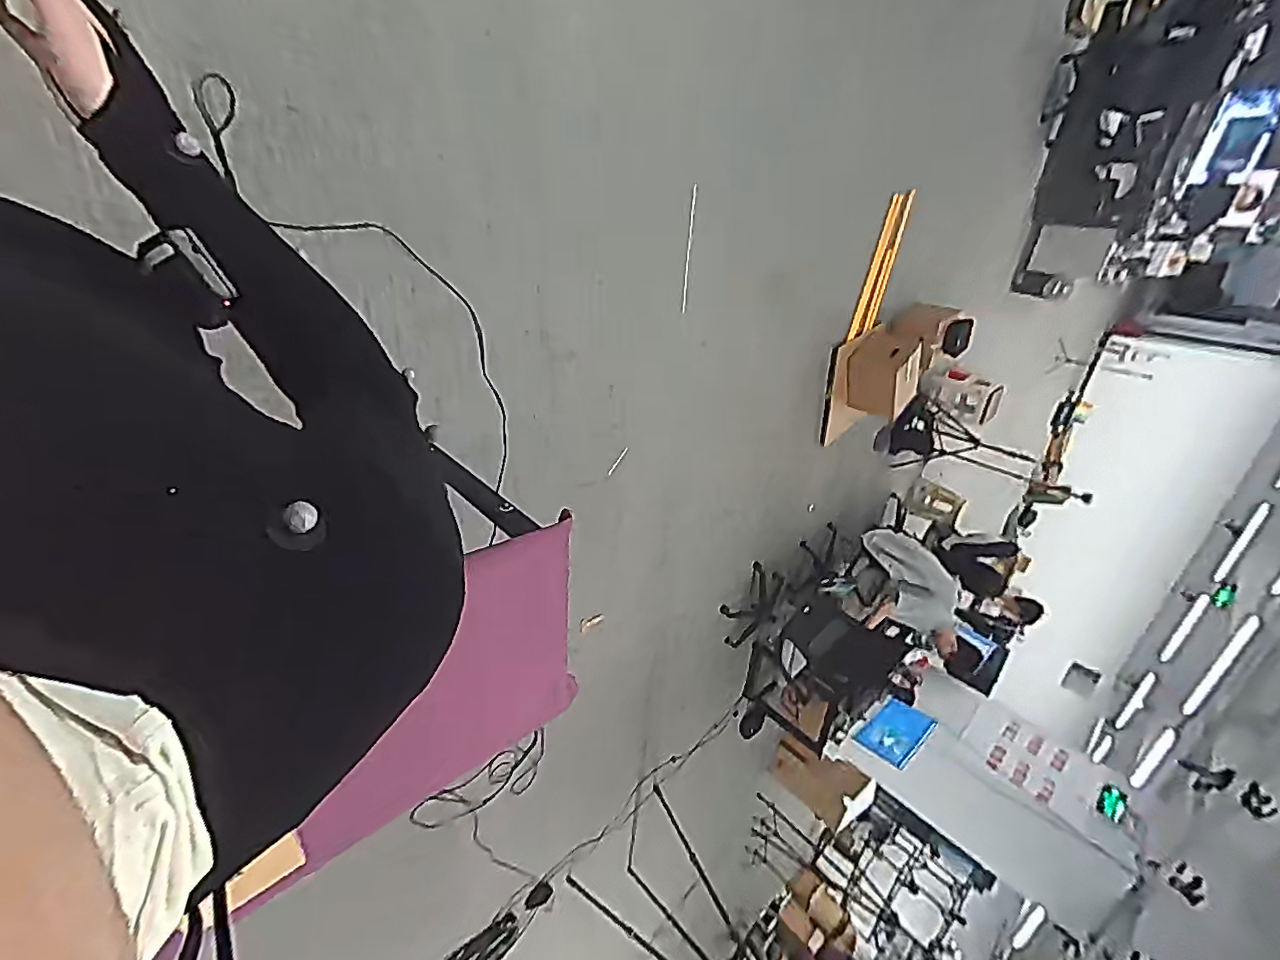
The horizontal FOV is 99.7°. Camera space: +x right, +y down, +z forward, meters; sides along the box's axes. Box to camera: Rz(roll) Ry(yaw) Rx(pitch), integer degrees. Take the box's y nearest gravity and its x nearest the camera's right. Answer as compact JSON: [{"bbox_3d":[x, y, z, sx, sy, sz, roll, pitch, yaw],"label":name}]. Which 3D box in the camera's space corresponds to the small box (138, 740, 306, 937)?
[{"bbox_3d":[-0.681,0.573,0.887,0.168,0.176,0.179,-24,128,-37],"label":"small box"}]
